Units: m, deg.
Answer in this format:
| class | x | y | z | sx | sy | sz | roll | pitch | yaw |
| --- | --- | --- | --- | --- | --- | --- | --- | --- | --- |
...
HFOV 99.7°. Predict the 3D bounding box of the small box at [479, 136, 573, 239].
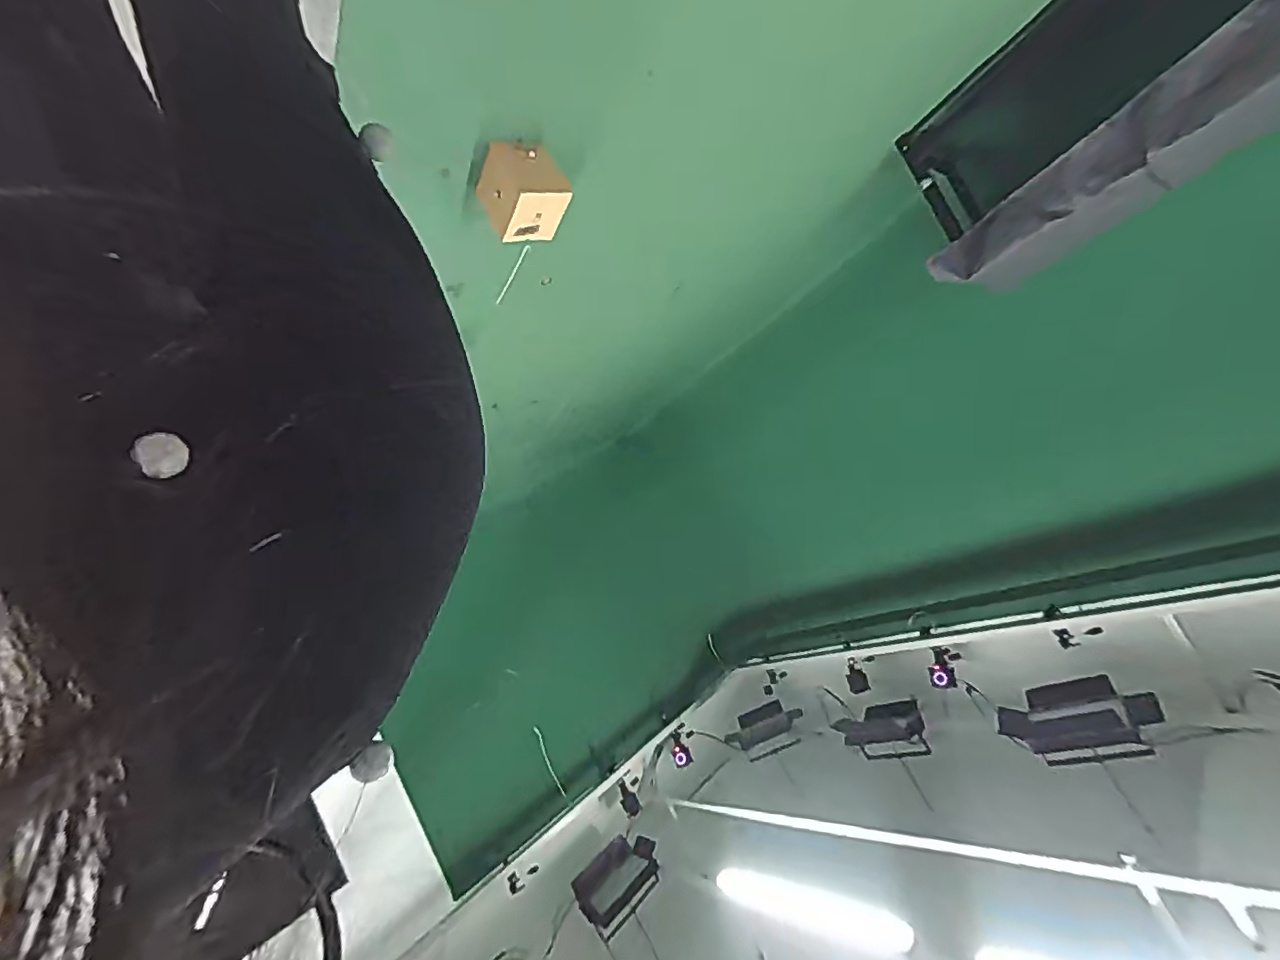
| class | x | y | z | sx | sy | sz | roll | pitch | yaw |
| --- | --- | --- | --- | --- | --- | --- | --- | --- | --- |
| small box | -0.314 | -0.784 | 1.460 | 0.168 | 0.176 | 0.179 | -24 | 172 | -37 |
